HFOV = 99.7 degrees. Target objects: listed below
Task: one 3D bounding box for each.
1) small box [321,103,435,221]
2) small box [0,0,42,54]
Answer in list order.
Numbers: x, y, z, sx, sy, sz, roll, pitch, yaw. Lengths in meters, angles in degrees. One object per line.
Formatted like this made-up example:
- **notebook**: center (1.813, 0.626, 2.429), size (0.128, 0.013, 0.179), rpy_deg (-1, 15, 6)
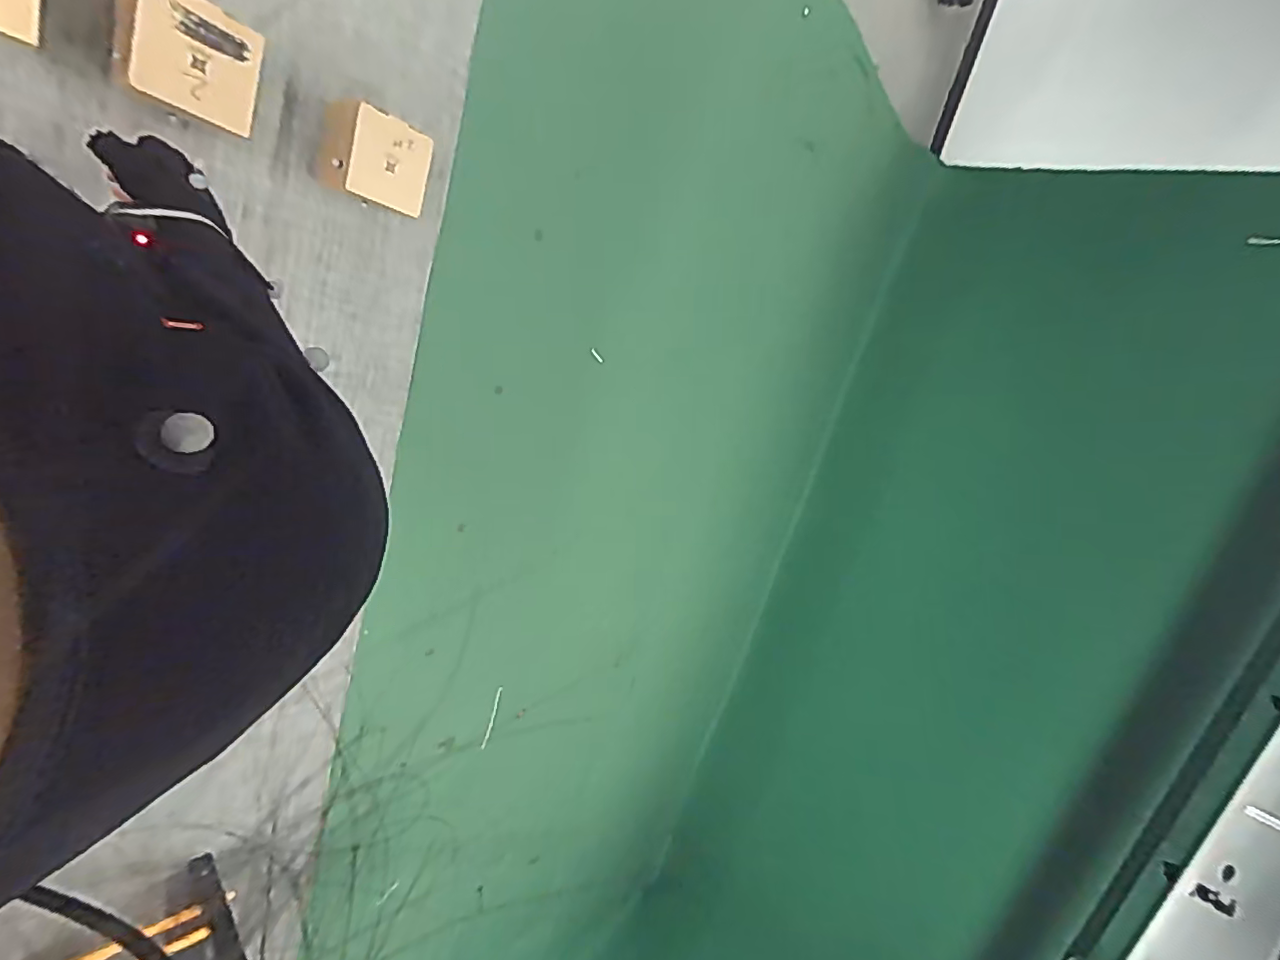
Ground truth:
- **small box**: center (-0.595, -0.711, 1.219), size (0.168, 0.176, 0.179), rpy_deg (1, 111, -52)
- **small box**: center (-0.958, -0.740, 0.755), size (0.168, 0.176, 0.179), rpy_deg (1, 110, -51)
